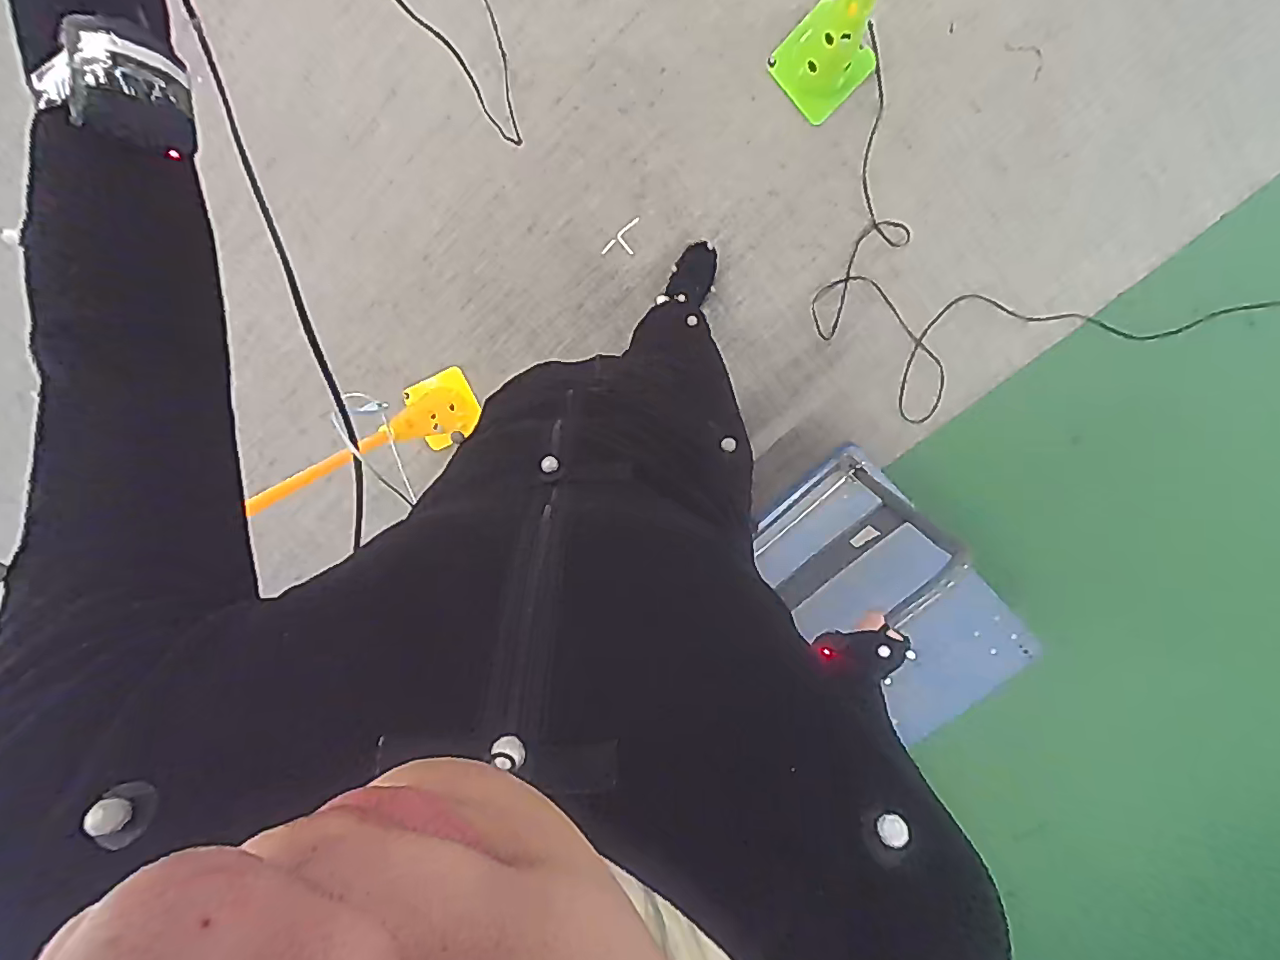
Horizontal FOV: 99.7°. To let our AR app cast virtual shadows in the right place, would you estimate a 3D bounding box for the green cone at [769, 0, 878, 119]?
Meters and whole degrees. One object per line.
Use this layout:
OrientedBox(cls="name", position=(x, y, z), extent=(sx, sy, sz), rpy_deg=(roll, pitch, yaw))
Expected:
OrientedBox(cls="green cone", position=(0.432, -0.963, 1.126), extent=(0.200, 0.368, 0.202), rpy_deg=(44, 102, -10))
